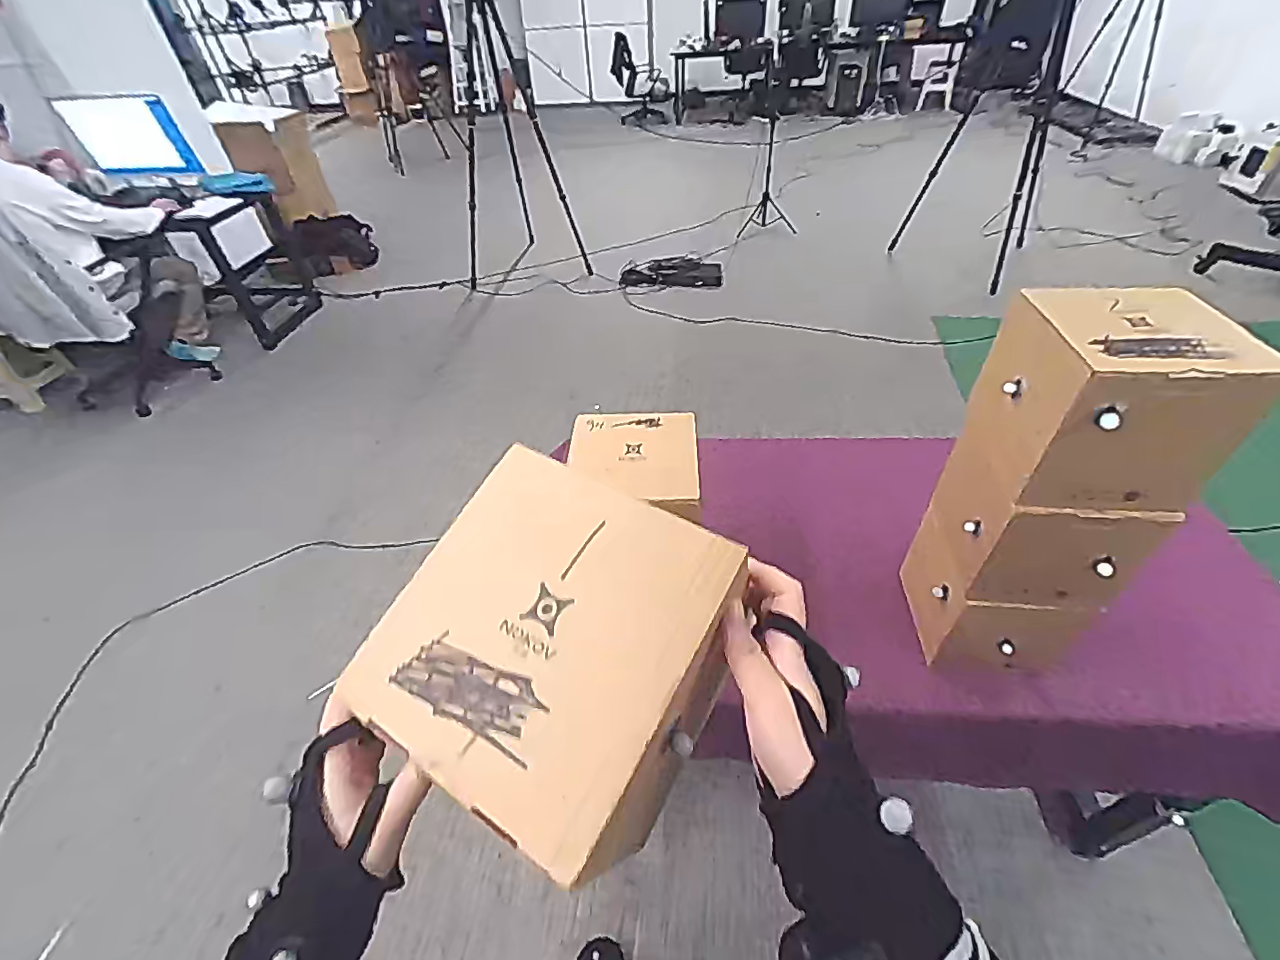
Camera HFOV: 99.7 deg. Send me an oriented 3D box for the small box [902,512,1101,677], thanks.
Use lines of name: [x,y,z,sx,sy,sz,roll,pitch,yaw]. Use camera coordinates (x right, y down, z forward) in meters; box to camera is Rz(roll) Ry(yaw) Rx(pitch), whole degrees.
small box: [0.505,0.168,0.789,0.168,0.176,0.179,1,42,7]

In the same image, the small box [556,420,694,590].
small box: [-0.009,0.036,0.742,0.168,0.176,0.179,0,42,4]

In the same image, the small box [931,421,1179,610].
small box: [0.495,0.045,0.682,0.168,0.176,0.179,3,42,8]

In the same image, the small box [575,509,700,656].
small box: [0.005,0.161,0.849,0.179,0.176,0.168,0,42,4]
